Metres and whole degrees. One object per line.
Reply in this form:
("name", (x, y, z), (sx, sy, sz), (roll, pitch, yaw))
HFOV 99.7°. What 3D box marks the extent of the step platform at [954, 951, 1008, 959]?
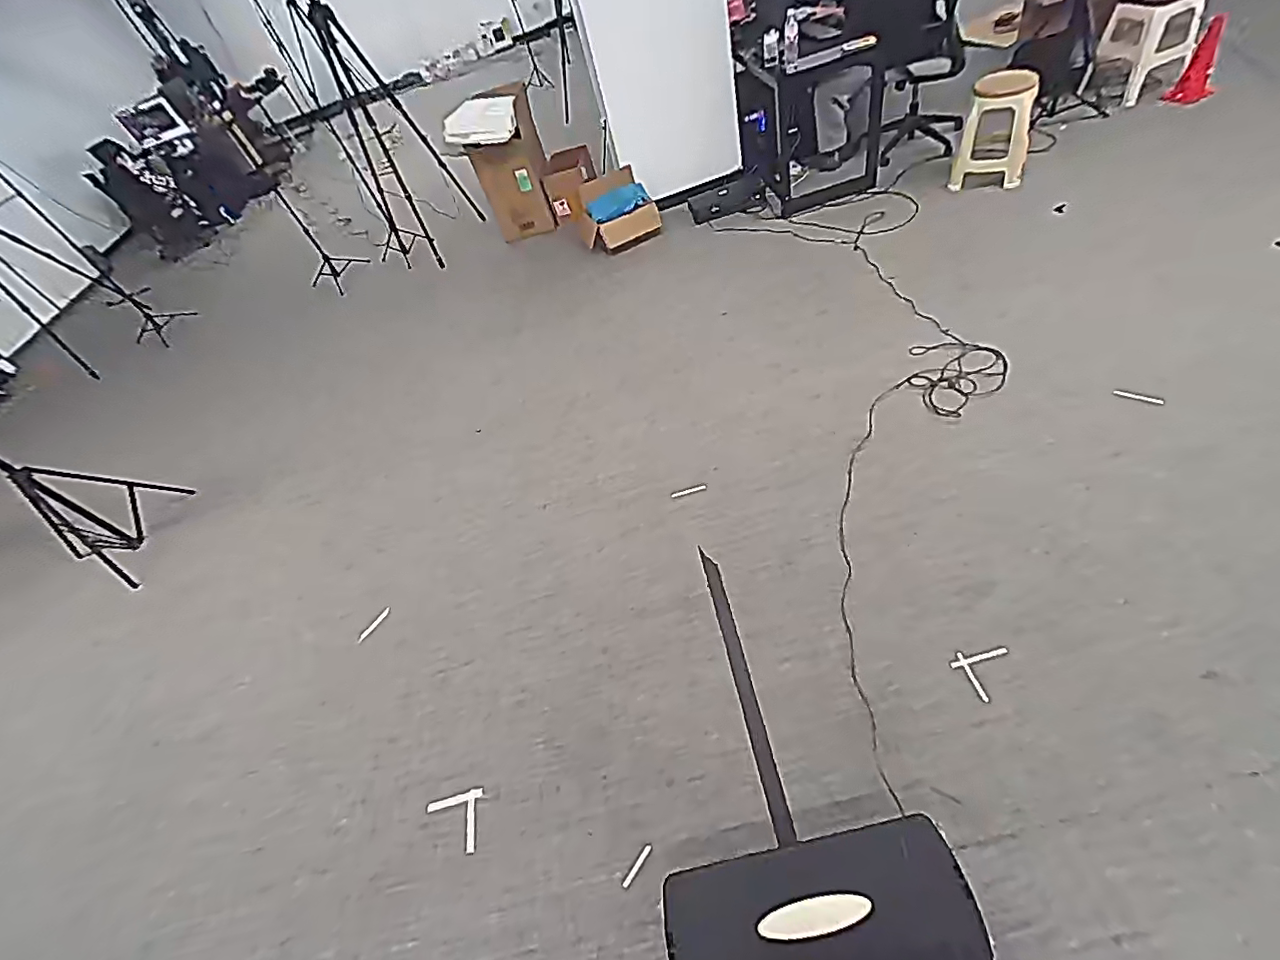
("step platform", (0.433, 1.127, 0.996), (0.684, 0.204, 0.286), (-18, 46, 4))
